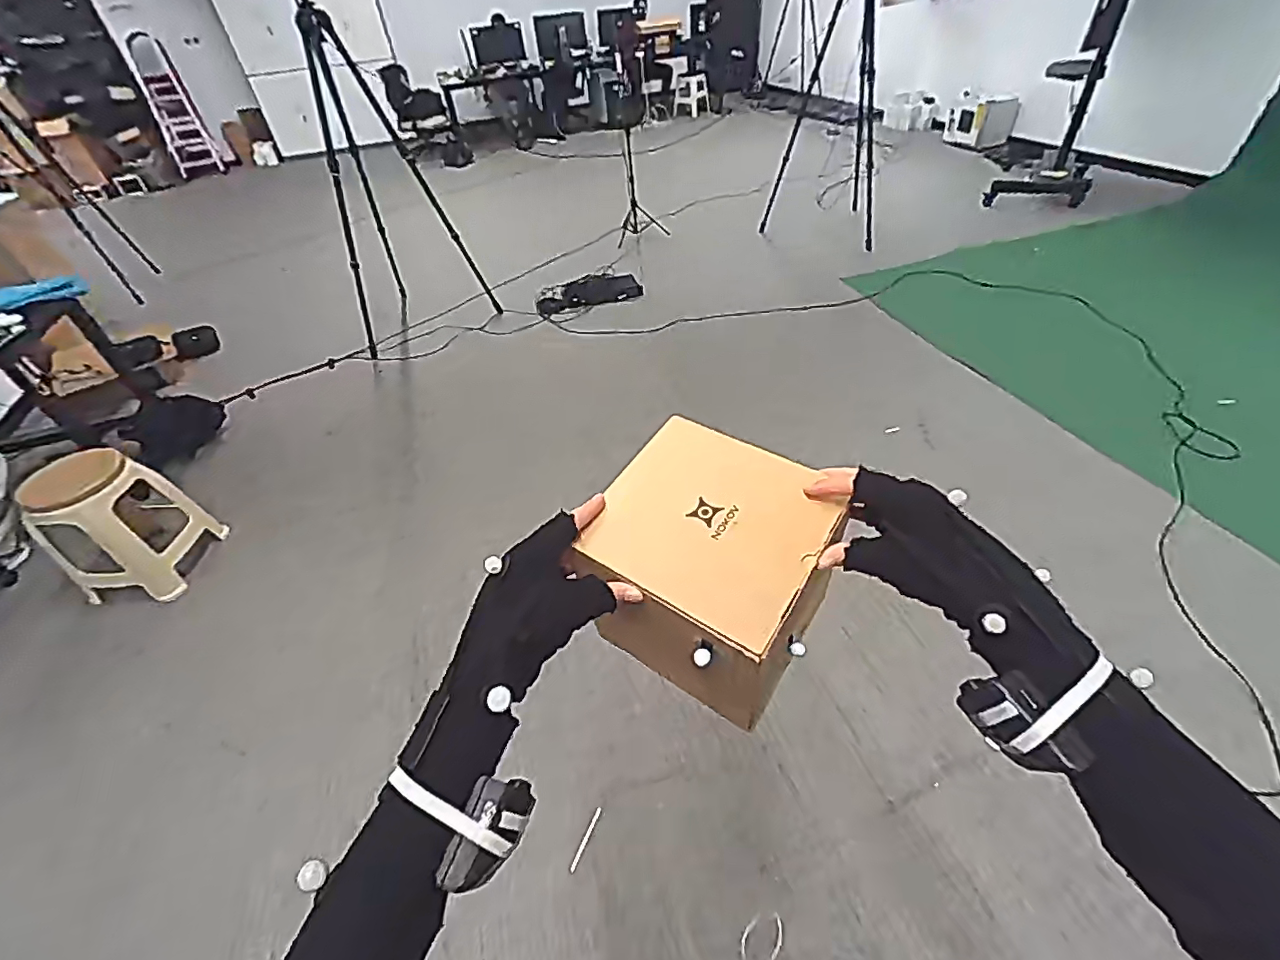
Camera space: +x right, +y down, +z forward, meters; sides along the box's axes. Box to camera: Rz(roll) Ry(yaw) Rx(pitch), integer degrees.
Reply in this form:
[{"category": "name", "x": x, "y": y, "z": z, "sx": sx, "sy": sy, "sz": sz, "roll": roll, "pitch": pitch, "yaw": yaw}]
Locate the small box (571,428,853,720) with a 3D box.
[{"category": "small box", "x": 0.066, "y": 0.086, "z": 0.496, "sx": 0.179, "sy": 0.176, "sz": 0.168, "roll": 25, "pitch": 57, "yaw": 26}]
